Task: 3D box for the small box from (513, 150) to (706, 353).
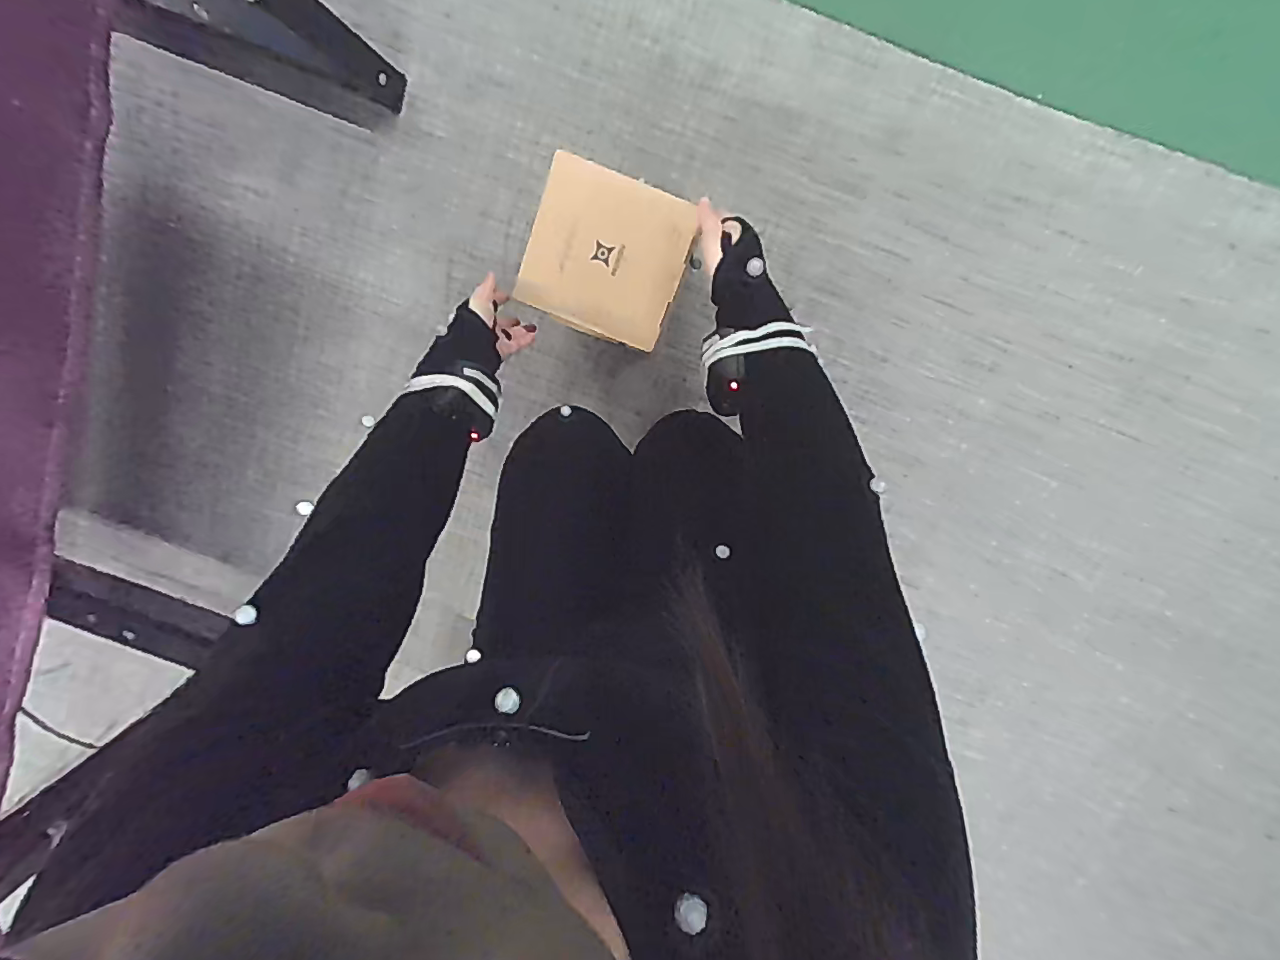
[{"bbox_3d":[-0.032,-0.273,0.680,0.179,0.176,0.168,22,105,-2],"label":"small box"}]
